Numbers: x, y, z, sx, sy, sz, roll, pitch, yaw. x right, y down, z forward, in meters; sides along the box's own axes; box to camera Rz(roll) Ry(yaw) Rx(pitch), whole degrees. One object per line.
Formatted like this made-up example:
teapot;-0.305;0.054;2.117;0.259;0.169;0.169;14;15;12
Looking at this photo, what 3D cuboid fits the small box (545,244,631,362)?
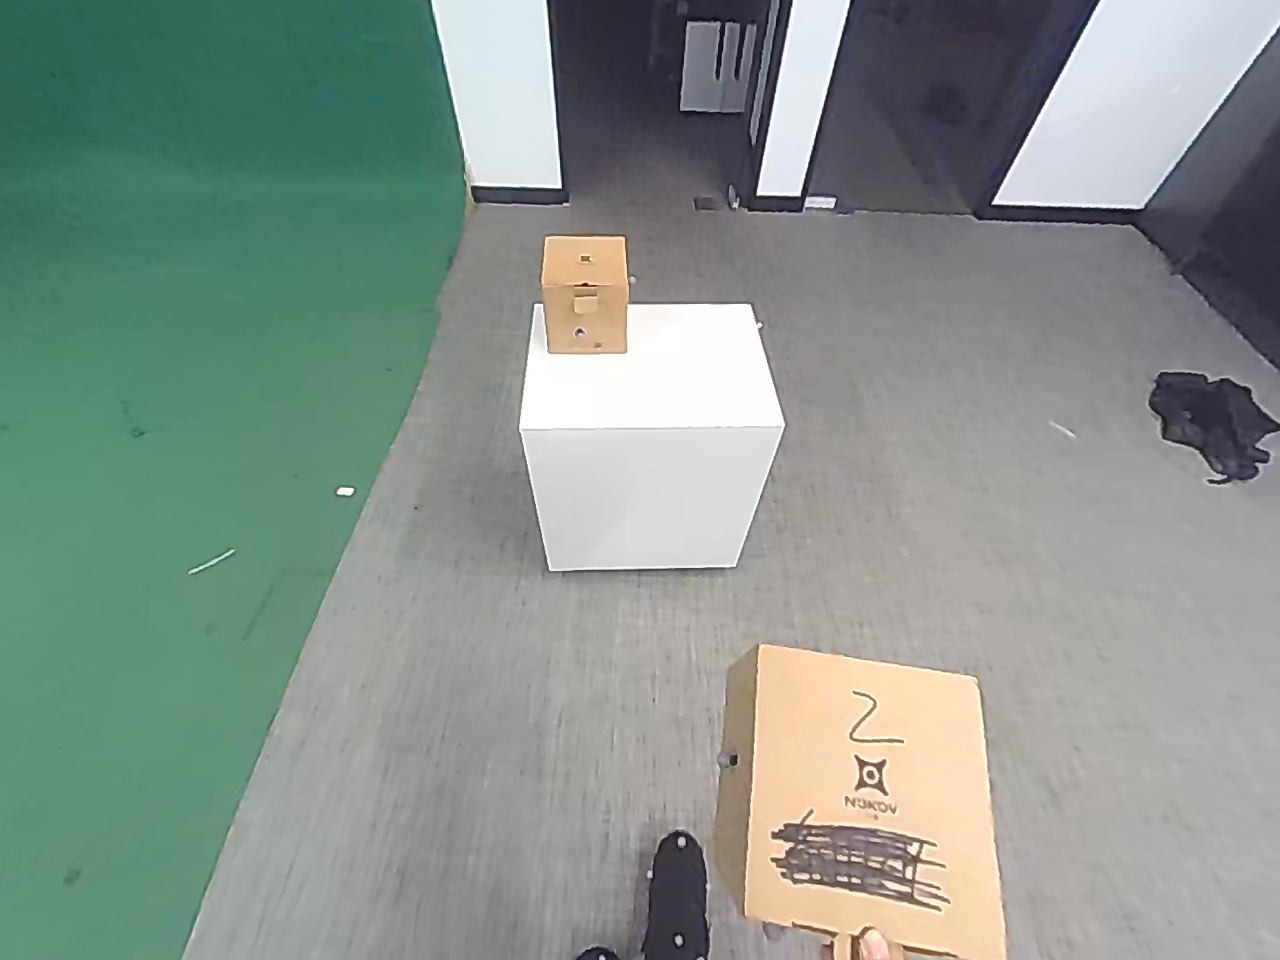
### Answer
small box;-0.106;-0.371;1.136;0.168;0.176;0.179;-1;53;-4
